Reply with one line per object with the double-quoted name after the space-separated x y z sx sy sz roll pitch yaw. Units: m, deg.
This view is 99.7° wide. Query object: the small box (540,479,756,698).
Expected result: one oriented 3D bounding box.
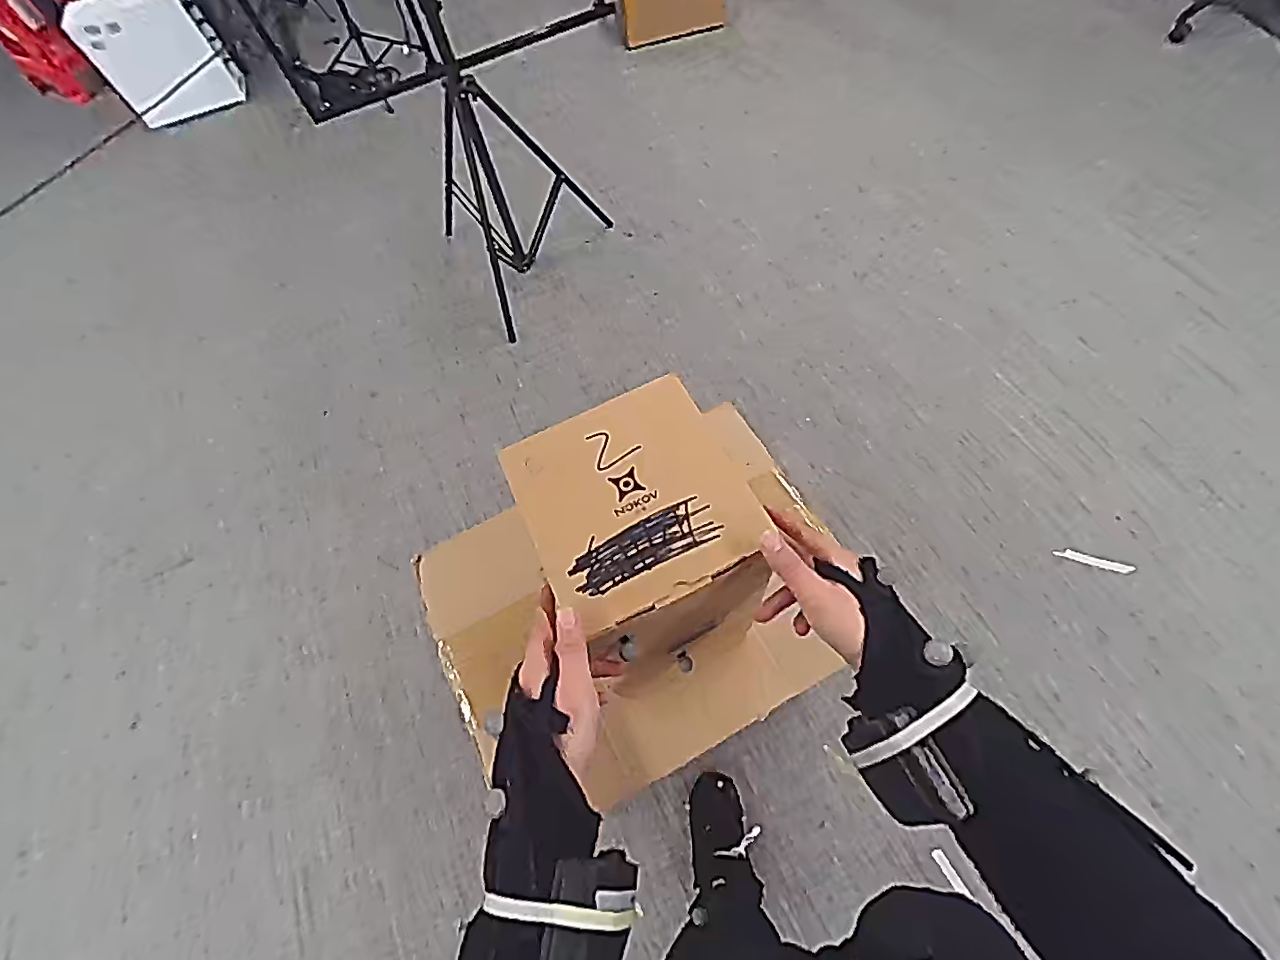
0.010 0.133 0.626 0.179 0.176 0.168 -27 64 -7 "small box"
